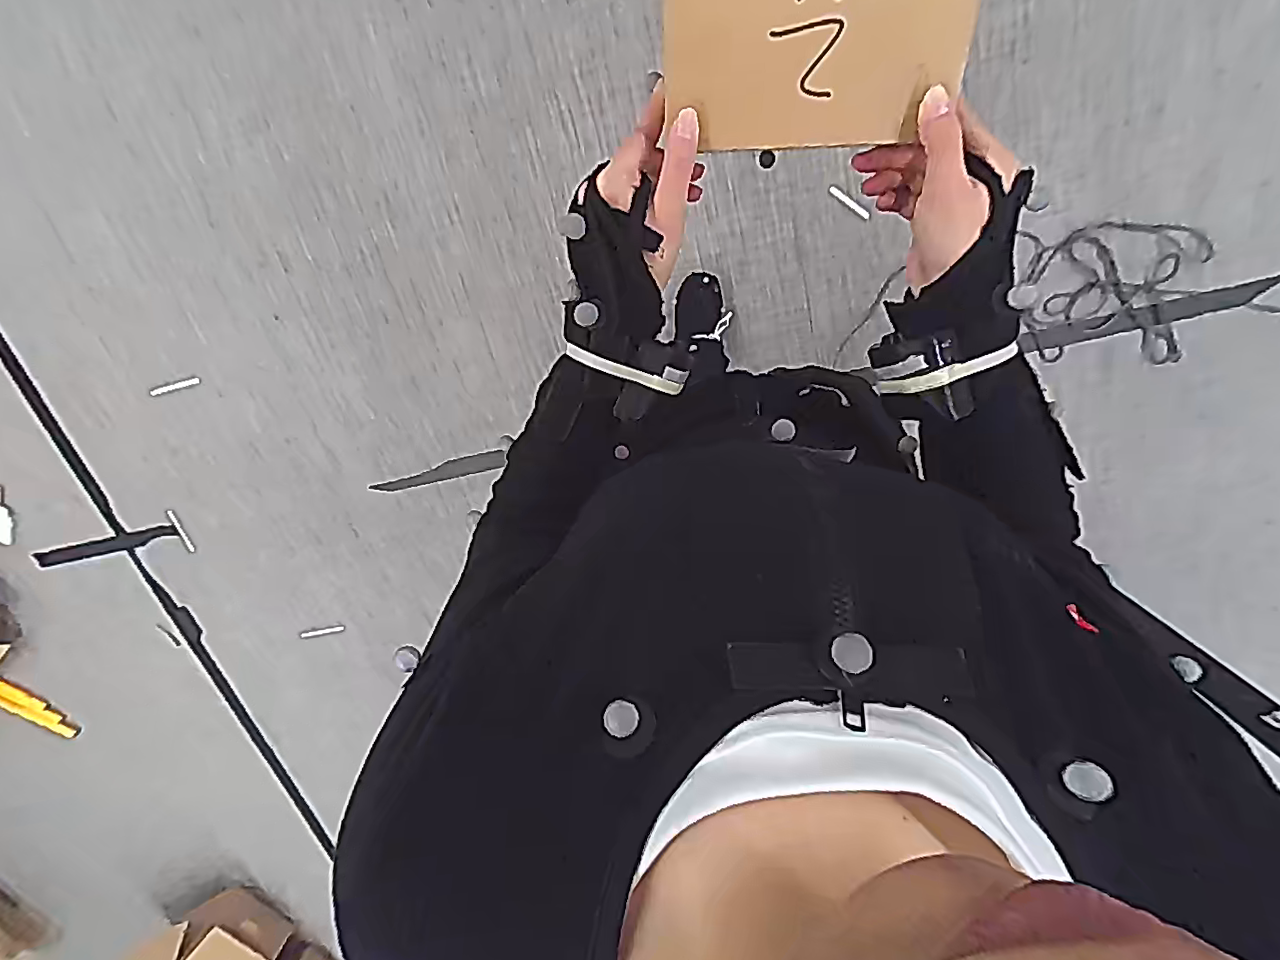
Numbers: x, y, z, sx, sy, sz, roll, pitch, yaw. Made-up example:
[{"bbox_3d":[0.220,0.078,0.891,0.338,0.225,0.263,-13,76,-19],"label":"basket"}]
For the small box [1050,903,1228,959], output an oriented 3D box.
[{"bbox_3d":[0.735,0.746,0.773,0.179,0.176,0.168,-3,111,6],"label":"small box"}]
